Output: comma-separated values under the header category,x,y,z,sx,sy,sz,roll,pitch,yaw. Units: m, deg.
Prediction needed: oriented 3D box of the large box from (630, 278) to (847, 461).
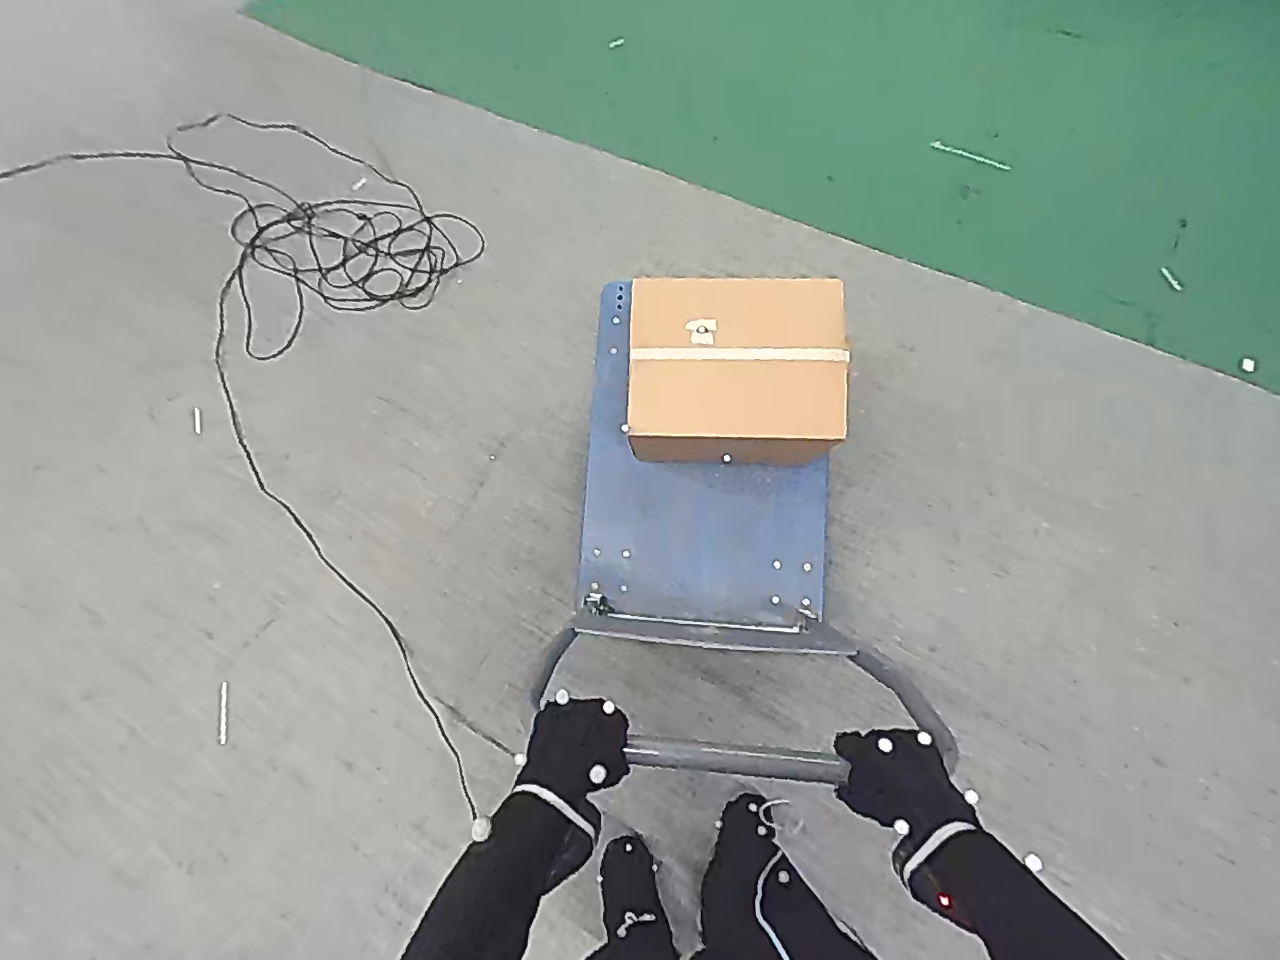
category,x,y,z,sx,sy,sz,roll,pitch,yaw
large box,0.194,-0.212,1.162,0.408,0.320,0.320,0,83,5
